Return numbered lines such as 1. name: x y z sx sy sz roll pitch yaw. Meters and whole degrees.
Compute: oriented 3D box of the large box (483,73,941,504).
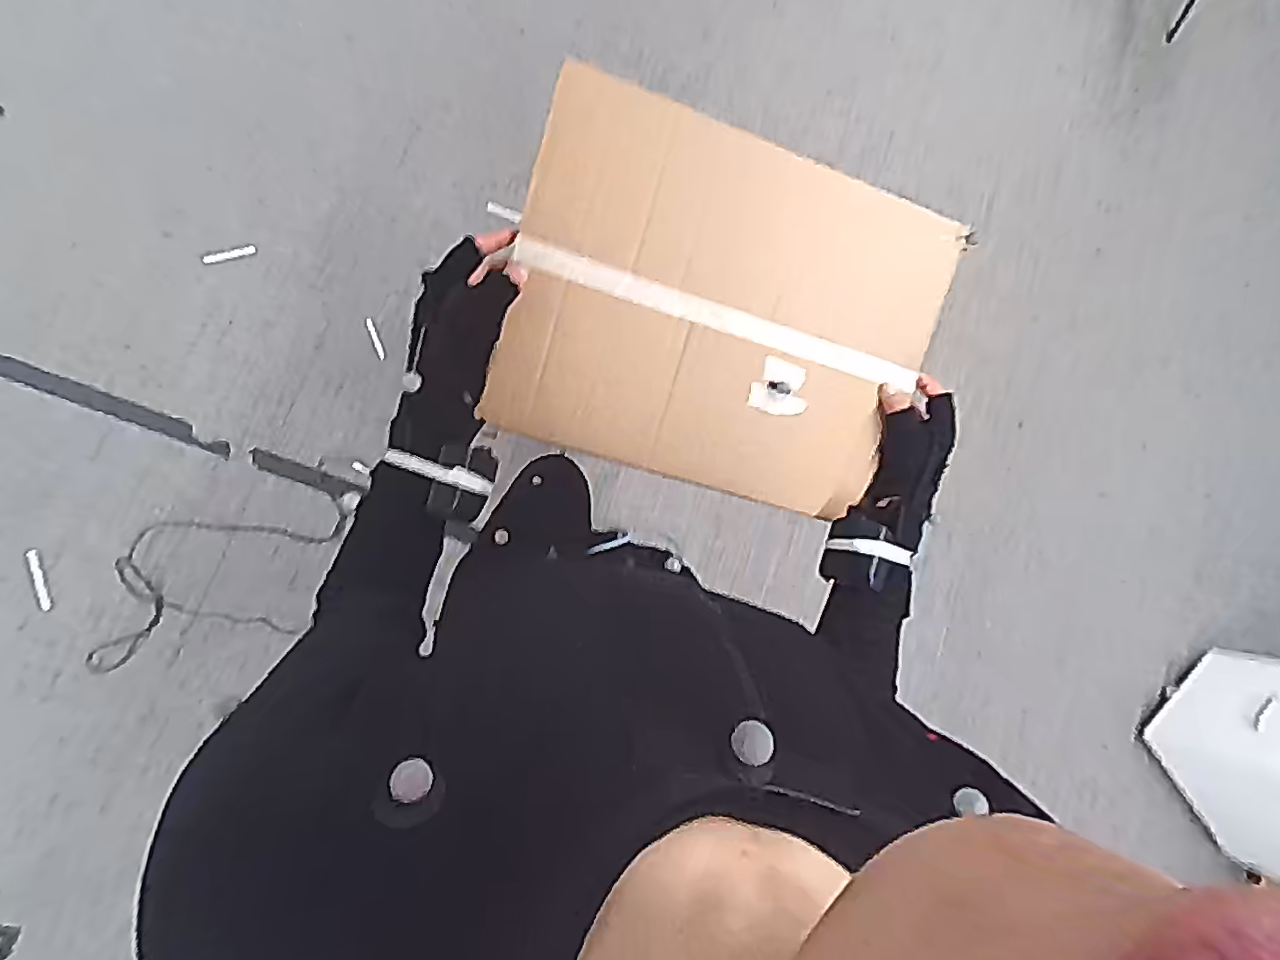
1. large box: 0.052 -0.190 0.668 0.408 0.320 0.320 15 99 -12
